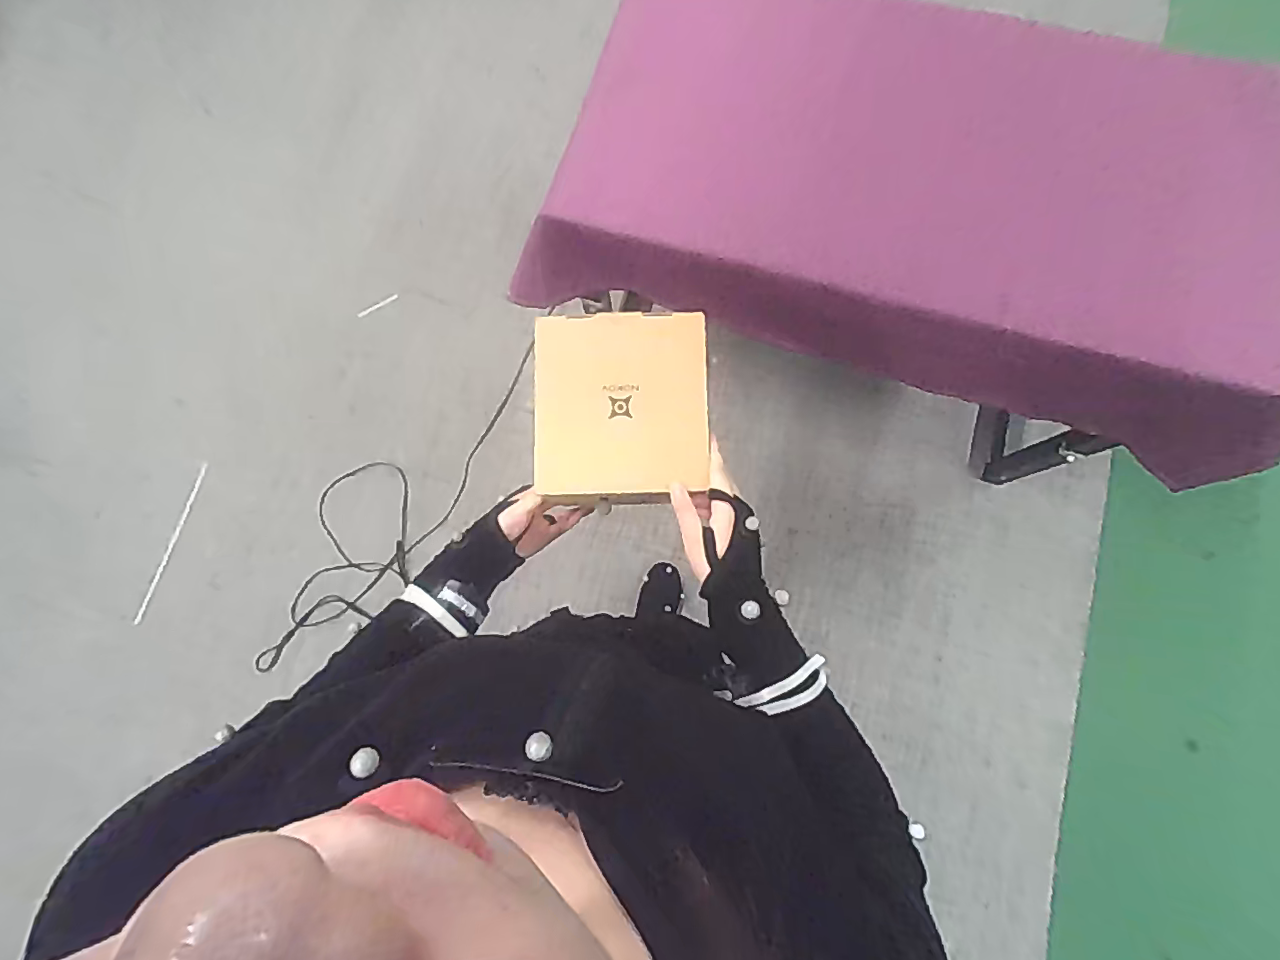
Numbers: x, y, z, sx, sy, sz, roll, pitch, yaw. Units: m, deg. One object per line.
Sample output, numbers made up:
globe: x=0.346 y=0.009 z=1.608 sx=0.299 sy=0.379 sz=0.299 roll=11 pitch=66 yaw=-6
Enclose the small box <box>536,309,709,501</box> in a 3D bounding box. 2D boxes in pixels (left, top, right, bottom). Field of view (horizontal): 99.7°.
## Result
small box: x=-0.014 y=-0.067 z=0.589 sx=0.168 sy=0.176 sz=0.179 roll=-1 pitch=83 yaw=1
